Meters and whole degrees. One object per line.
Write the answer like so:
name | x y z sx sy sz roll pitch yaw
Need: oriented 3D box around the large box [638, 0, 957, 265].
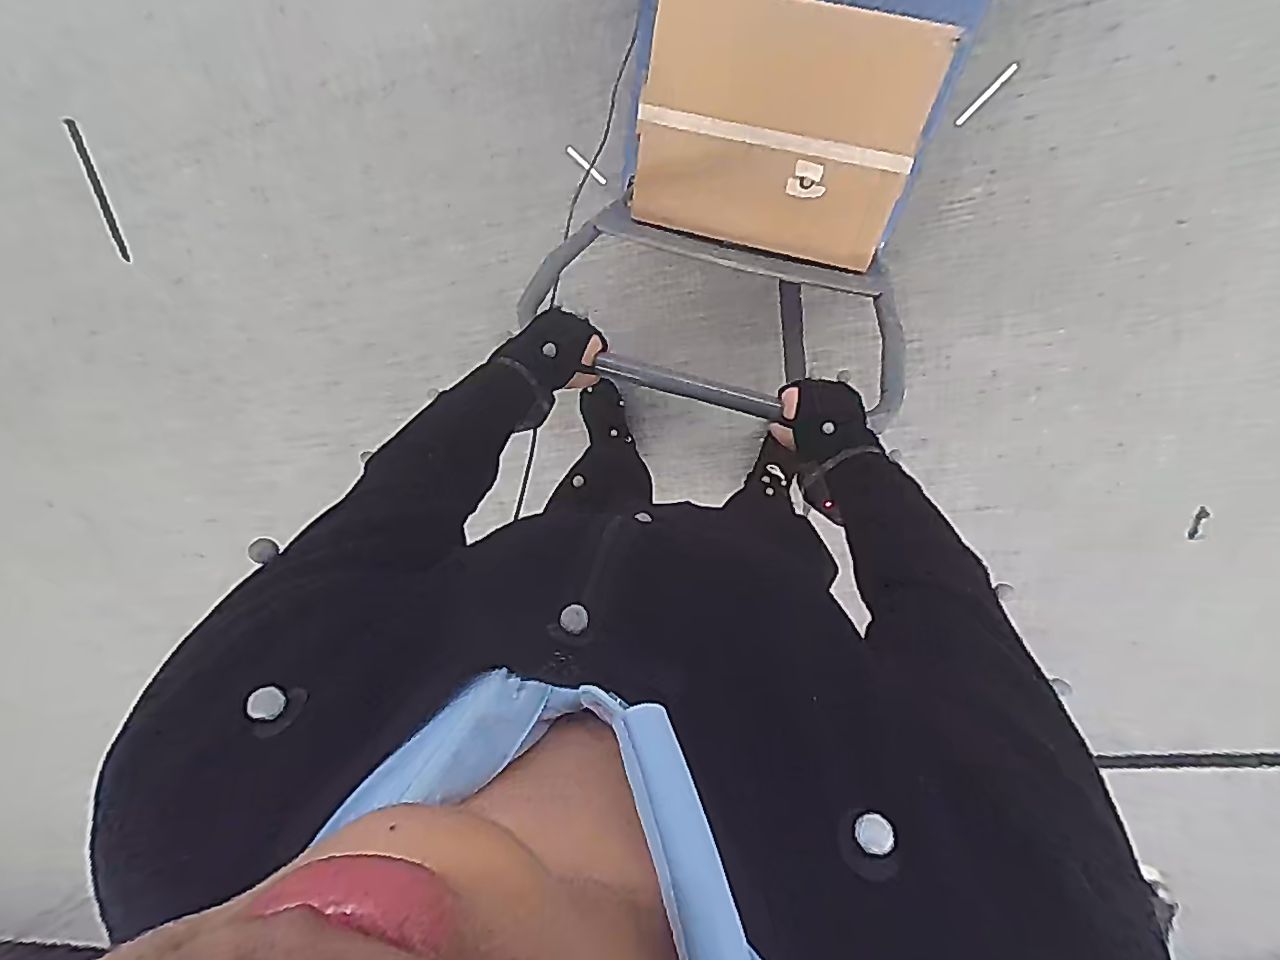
large box | 0.239 -0.606 0.937 0.408 0.320 0.320 15 129 5
